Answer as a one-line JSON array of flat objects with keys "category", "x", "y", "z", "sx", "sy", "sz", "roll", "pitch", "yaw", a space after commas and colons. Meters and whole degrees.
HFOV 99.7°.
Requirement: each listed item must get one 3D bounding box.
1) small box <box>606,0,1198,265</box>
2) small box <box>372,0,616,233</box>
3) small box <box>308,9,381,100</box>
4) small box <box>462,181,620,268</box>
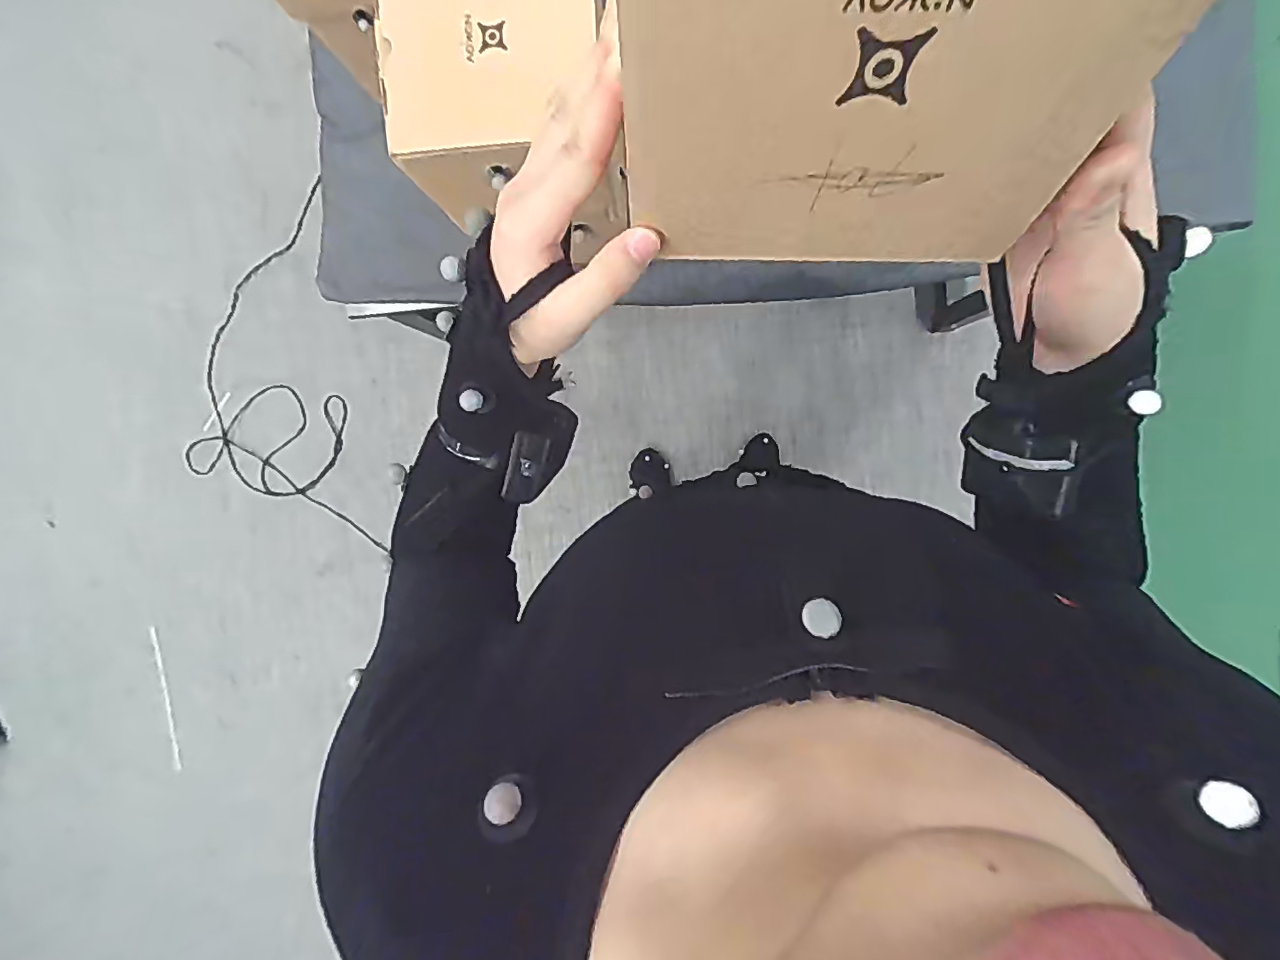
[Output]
[{"category": "small box", "x": 0.074, "y": -0.204, "z": 0.192, "sx": 0.168, "sy": 0.179, "sz": 0.176, "roll": 2, "pitch": 72, "yaw": 2}, {"category": "small box", "x": -0.117, "y": -0.346, "z": 0.501, "sx": 0.179, "sy": 0.176, "sz": 0.168, "roll": -3, "pitch": 94, "yaw": 5}, {"category": "small box", "x": -0.303, "y": -0.608, "z": 0.661, "sx": 0.168, "sy": 0.176, "sz": 0.179, "roll": -8, "pitch": 94, "yaw": 4}, {"category": "small box", "x": -0.113, "y": -0.371, "z": 0.662, "sx": 0.179, "sy": 0.176, "sz": 0.168, "roll": -2, "pitch": 94, "yaw": 4}]
